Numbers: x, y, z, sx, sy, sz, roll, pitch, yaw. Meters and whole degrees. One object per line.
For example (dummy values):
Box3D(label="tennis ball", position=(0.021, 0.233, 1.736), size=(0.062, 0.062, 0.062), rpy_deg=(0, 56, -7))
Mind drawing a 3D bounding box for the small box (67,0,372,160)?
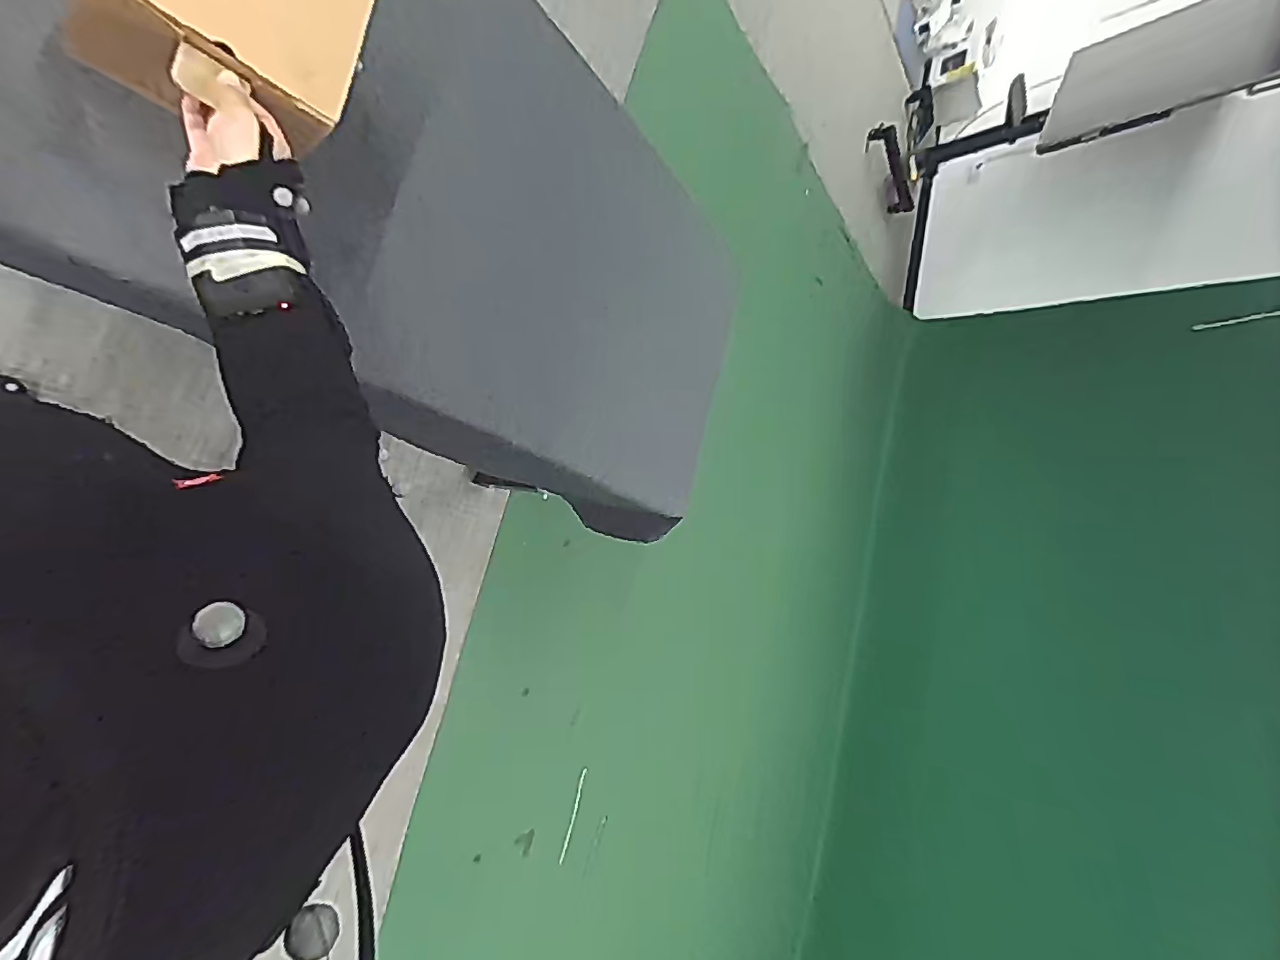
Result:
Box3D(label="small box", position=(-0.352, -0.416, 0.463), size=(0.168, 0.176, 0.179), rpy_deg=(17, 84, -49))
